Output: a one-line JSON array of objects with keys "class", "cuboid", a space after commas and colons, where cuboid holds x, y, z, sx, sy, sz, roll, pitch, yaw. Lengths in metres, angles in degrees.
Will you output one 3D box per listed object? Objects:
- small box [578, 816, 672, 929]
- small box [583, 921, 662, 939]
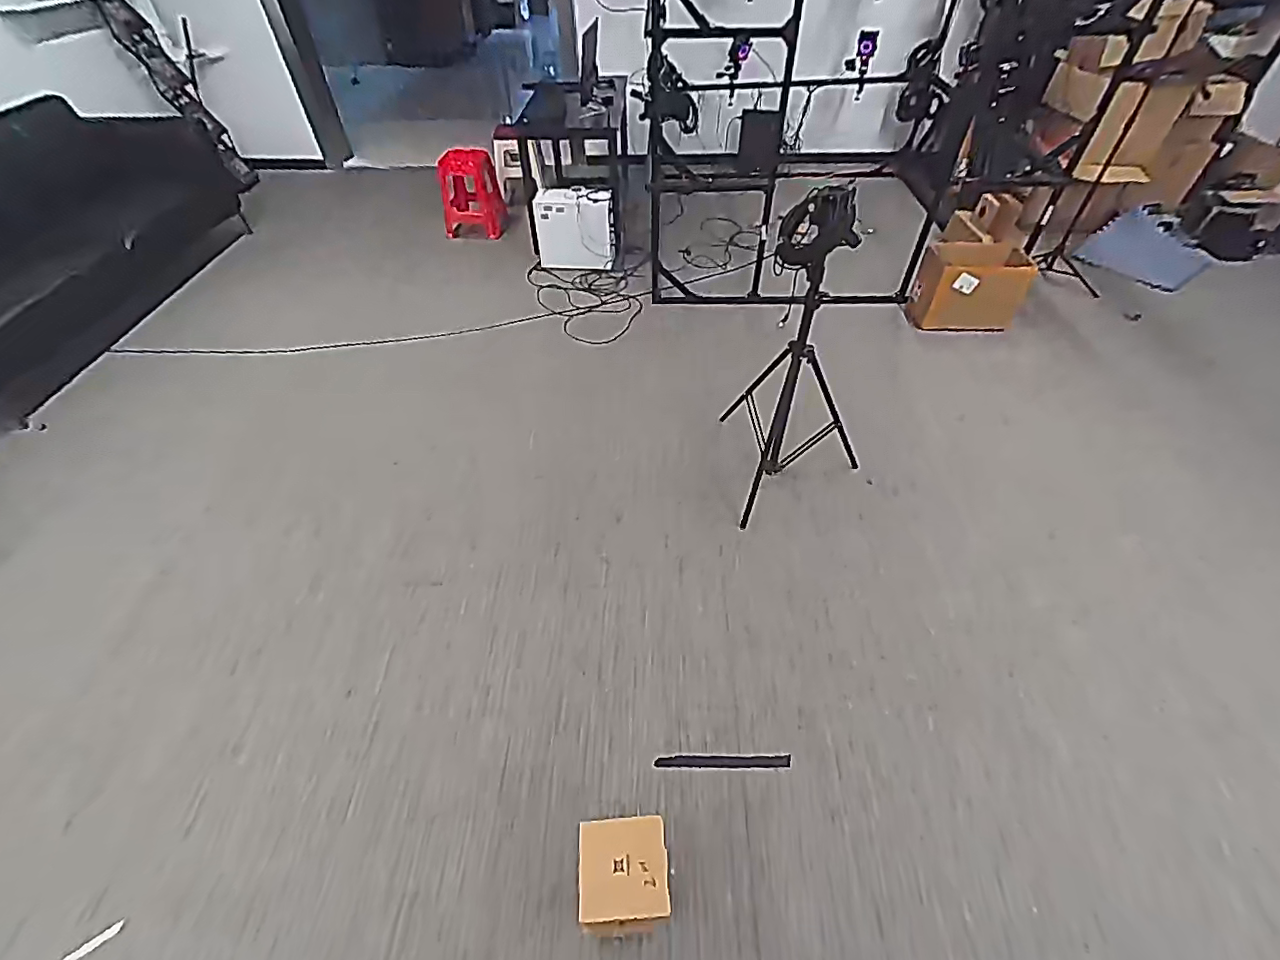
[{"class": "small box", "cuboid": [-0.028, 0.811, 1.114, 0.179, 0.176, 0.168, -4, 47, -1]}, {"class": "small box", "cuboid": [-0.037, 0.925, 1.233, 0.168, 0.176, 0.179, -3, 48, 0]}]
